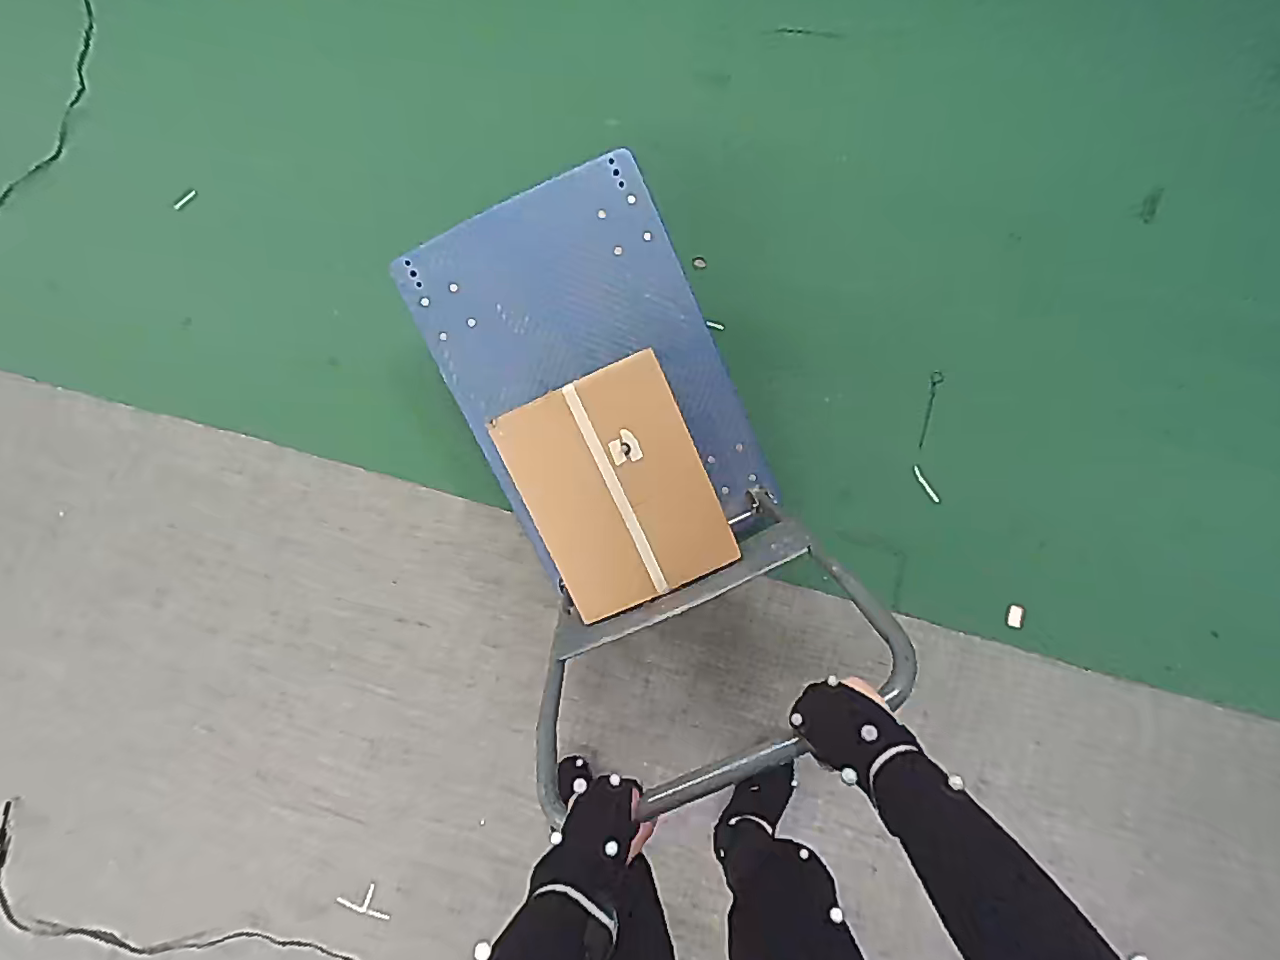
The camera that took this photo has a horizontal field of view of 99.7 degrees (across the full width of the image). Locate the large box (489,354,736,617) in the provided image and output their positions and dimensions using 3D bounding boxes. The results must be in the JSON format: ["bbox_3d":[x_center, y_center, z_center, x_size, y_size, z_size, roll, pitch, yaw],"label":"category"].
[{"bbox_3d":[-0.044,-0.003,1.115,0.320,0.320,0.408,-25,99,3],"label":"large box"}]
